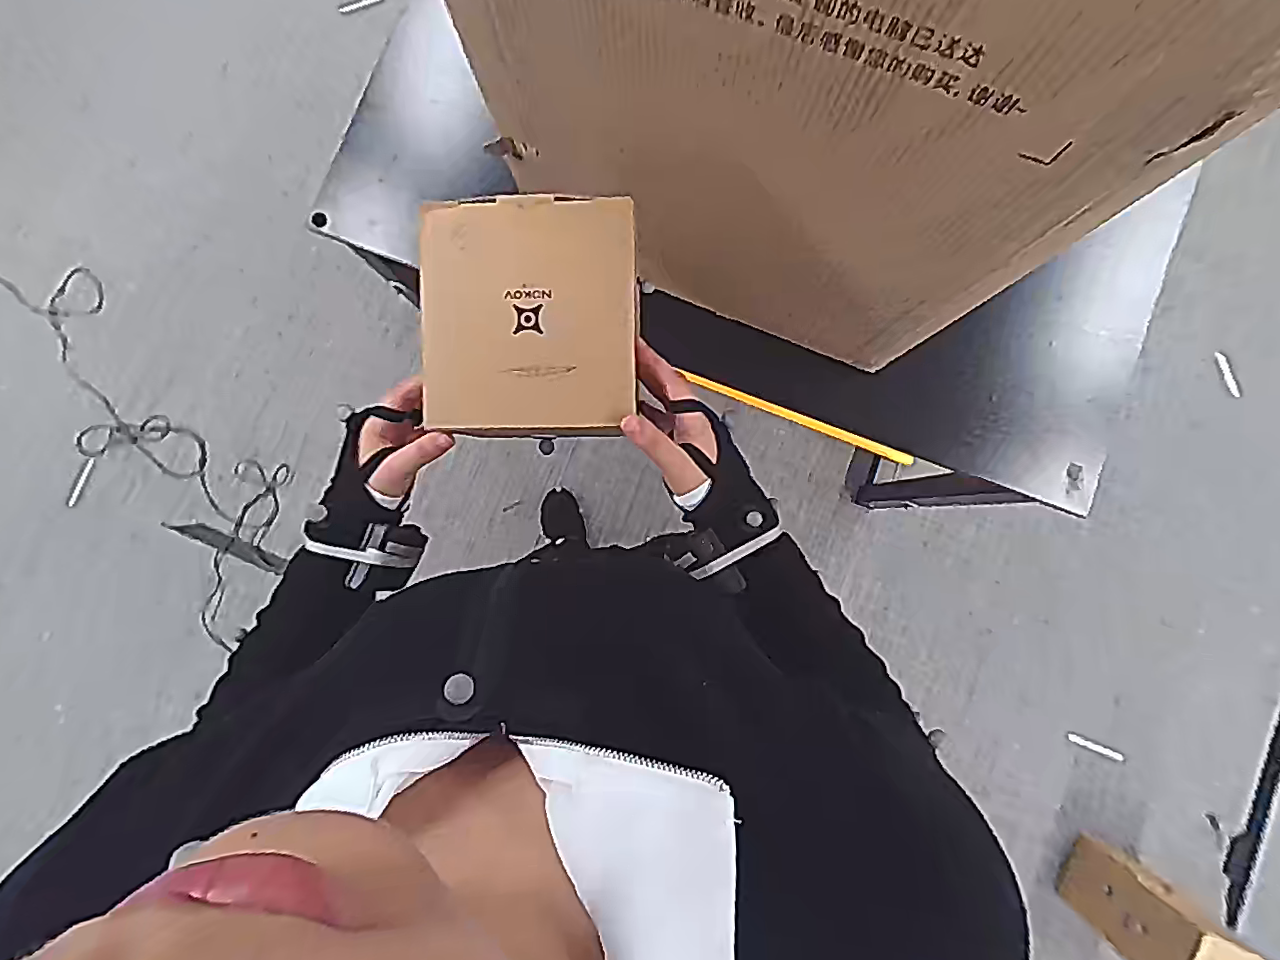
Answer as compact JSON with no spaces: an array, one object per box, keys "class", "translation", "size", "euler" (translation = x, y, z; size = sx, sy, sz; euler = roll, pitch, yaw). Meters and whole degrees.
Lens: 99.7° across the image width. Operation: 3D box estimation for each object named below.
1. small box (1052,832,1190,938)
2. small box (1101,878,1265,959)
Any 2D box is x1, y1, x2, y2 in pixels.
[{"class":"small box","translation":[1.184,1.030,1.348],"size":[0.168,0.176,0.179],"euler":[25,88,2]},{"class":"small box","translation":[1.184,1.029,1.183],"size":[0.179,0.176,0.168],"euler":[25,87,2]}]
